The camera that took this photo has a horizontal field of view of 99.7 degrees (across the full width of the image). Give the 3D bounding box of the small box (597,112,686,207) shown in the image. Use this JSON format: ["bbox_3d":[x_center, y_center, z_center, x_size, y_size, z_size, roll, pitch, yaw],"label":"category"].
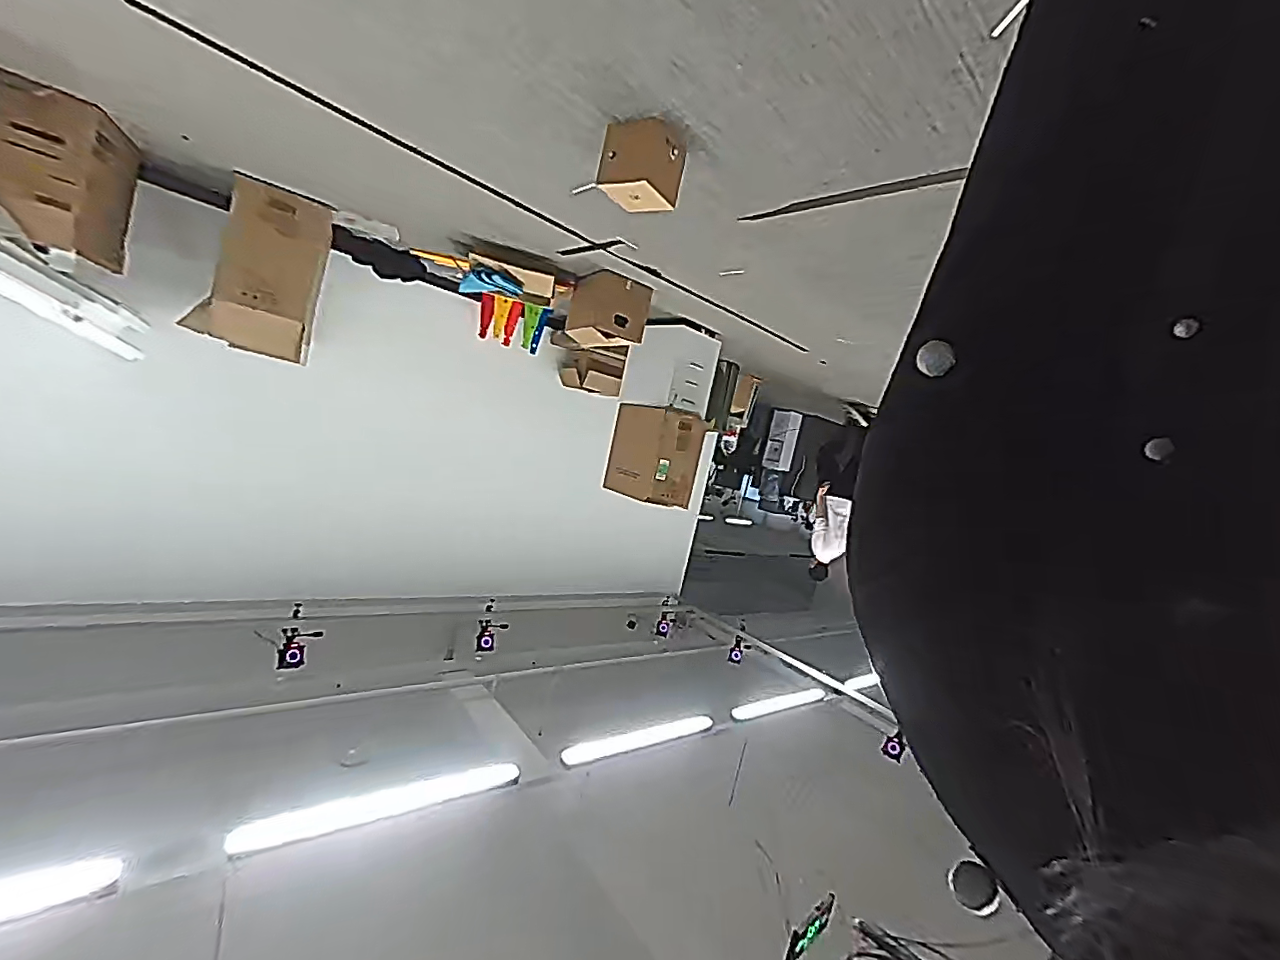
[{"bbox_3d":[0.008,-0.896,1.524,0.179,0.176,0.168,14,-175,33],"label":"small box"}]
